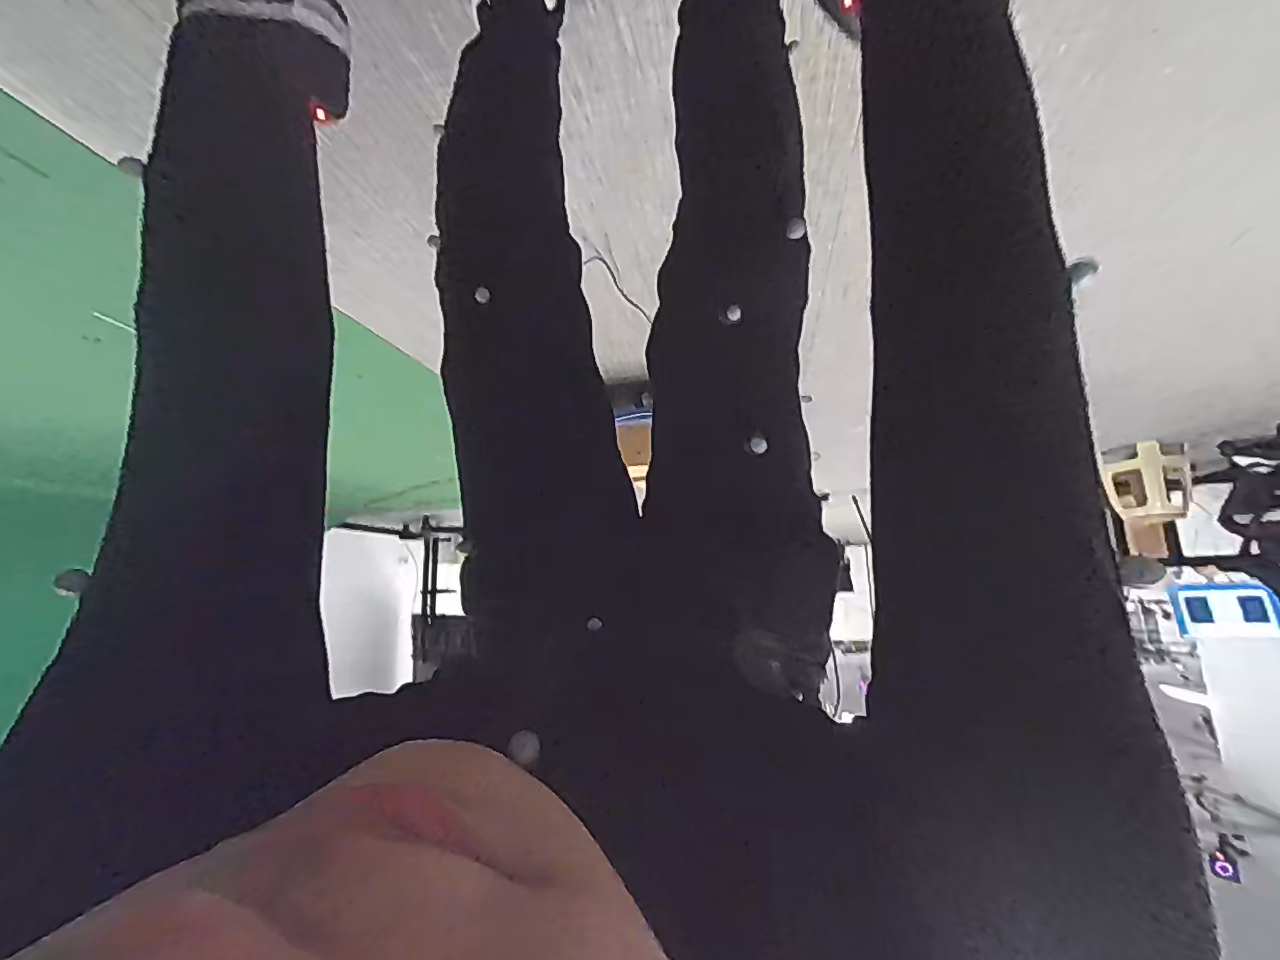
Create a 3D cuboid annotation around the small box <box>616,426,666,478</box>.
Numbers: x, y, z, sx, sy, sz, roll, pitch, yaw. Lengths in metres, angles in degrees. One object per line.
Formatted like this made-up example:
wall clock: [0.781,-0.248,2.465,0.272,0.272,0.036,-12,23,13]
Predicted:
small box: [0.004,-0.110,2.101,0.179,0.176,0.168,-3,168,8]
